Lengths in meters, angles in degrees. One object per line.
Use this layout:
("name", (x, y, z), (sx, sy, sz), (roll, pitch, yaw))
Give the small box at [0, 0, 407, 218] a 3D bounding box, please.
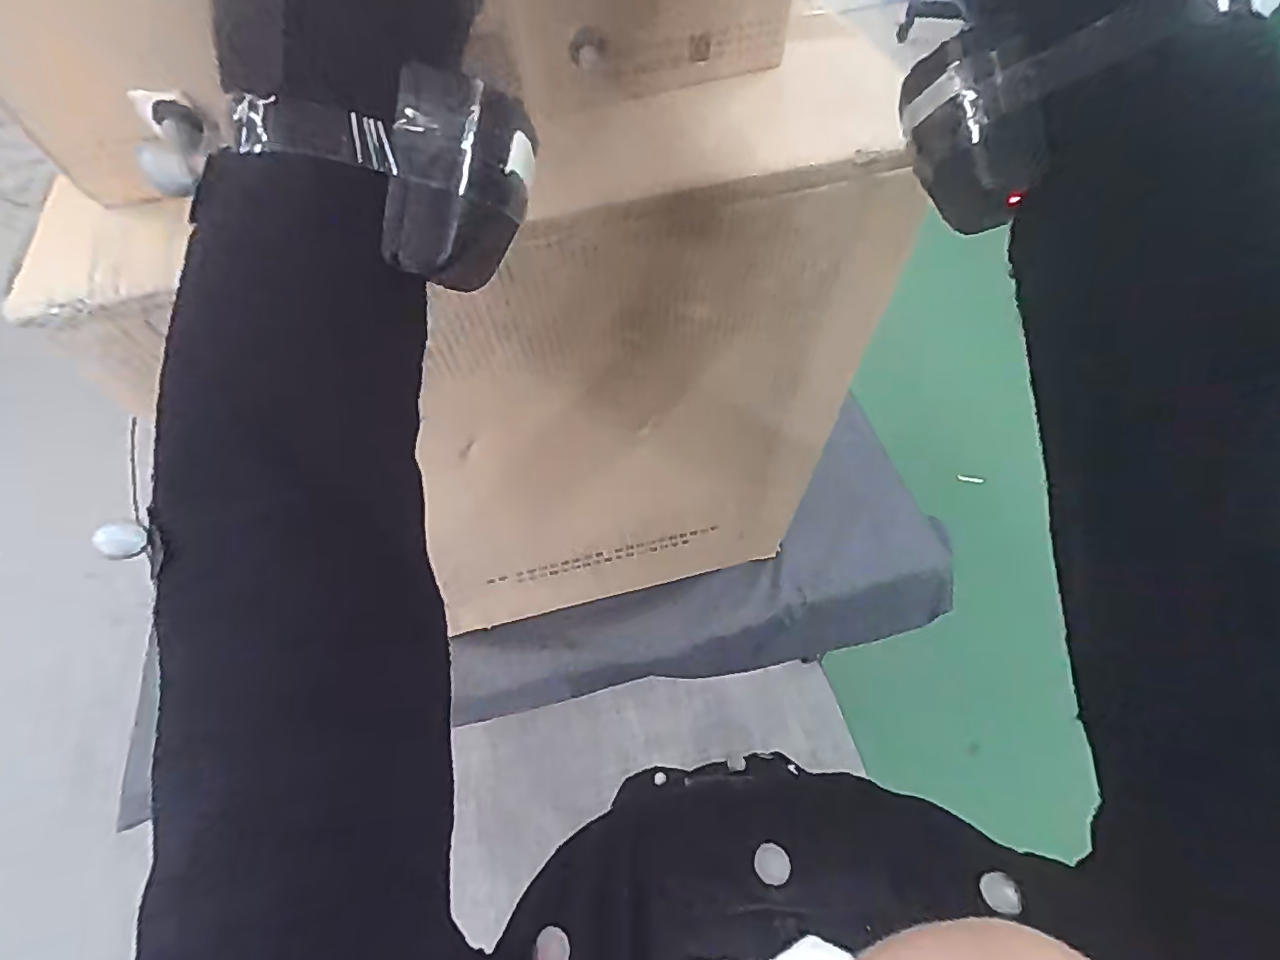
("small box", (-0.242, -0.277, 0.285), (0.168, 0.176, 0.179), (-16, 64, -3))
